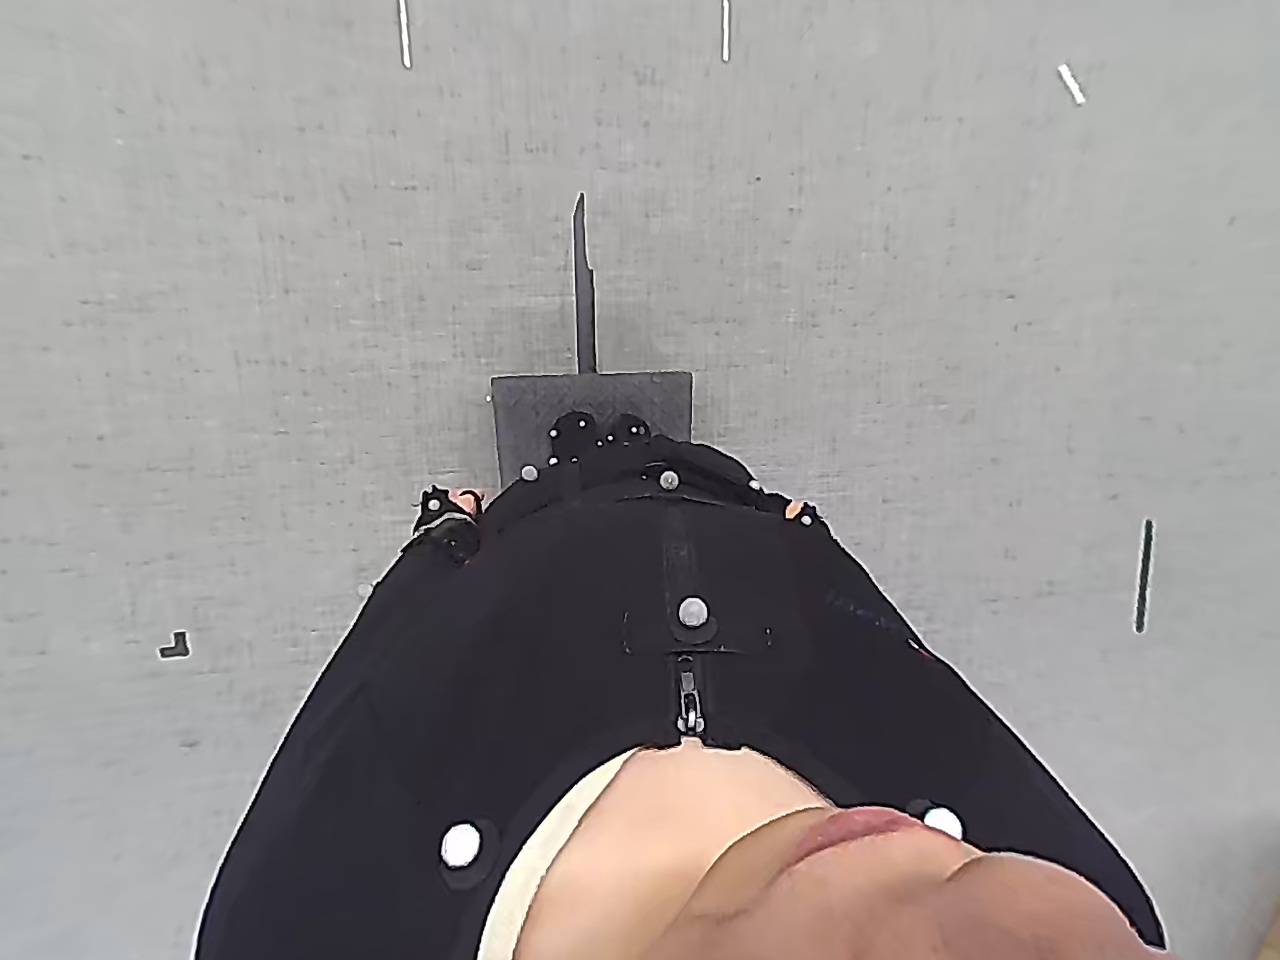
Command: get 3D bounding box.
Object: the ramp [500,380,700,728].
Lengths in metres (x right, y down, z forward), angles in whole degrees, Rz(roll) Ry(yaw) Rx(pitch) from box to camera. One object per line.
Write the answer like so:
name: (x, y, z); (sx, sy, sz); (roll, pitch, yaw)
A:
ramp: (-0.080, 0.239, 1.464); (0.509, 0.206, 0.991); (-5, 98, -7)
